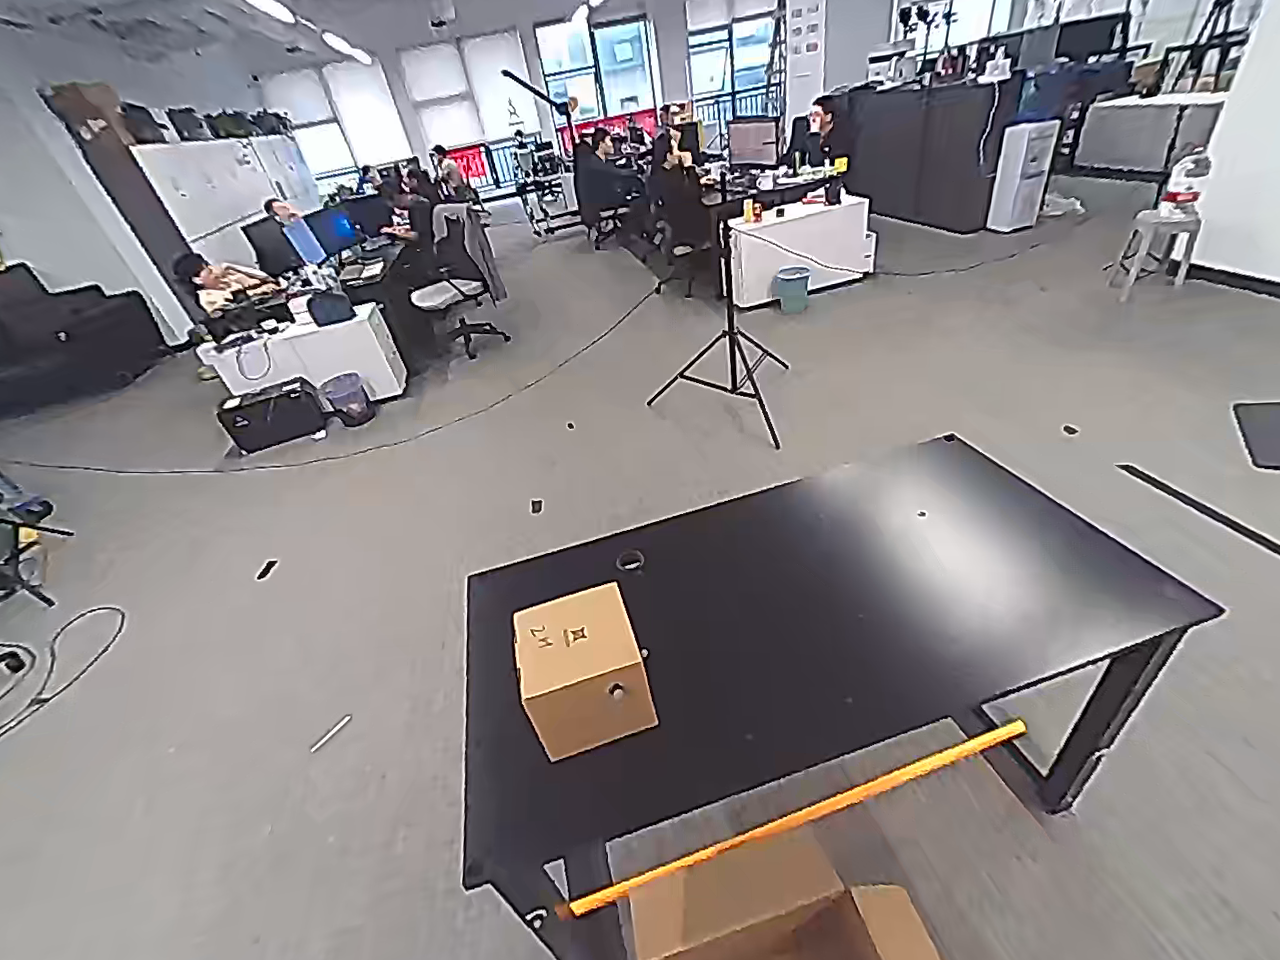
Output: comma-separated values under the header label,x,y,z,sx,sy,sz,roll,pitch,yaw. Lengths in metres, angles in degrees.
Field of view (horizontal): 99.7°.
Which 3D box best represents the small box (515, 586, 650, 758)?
label,x,y,z,sx,sy,sz,roll,pitch,yaw
small box,-0.088,0.304,0.862,0.179,0.176,0.168,-16,35,-7
